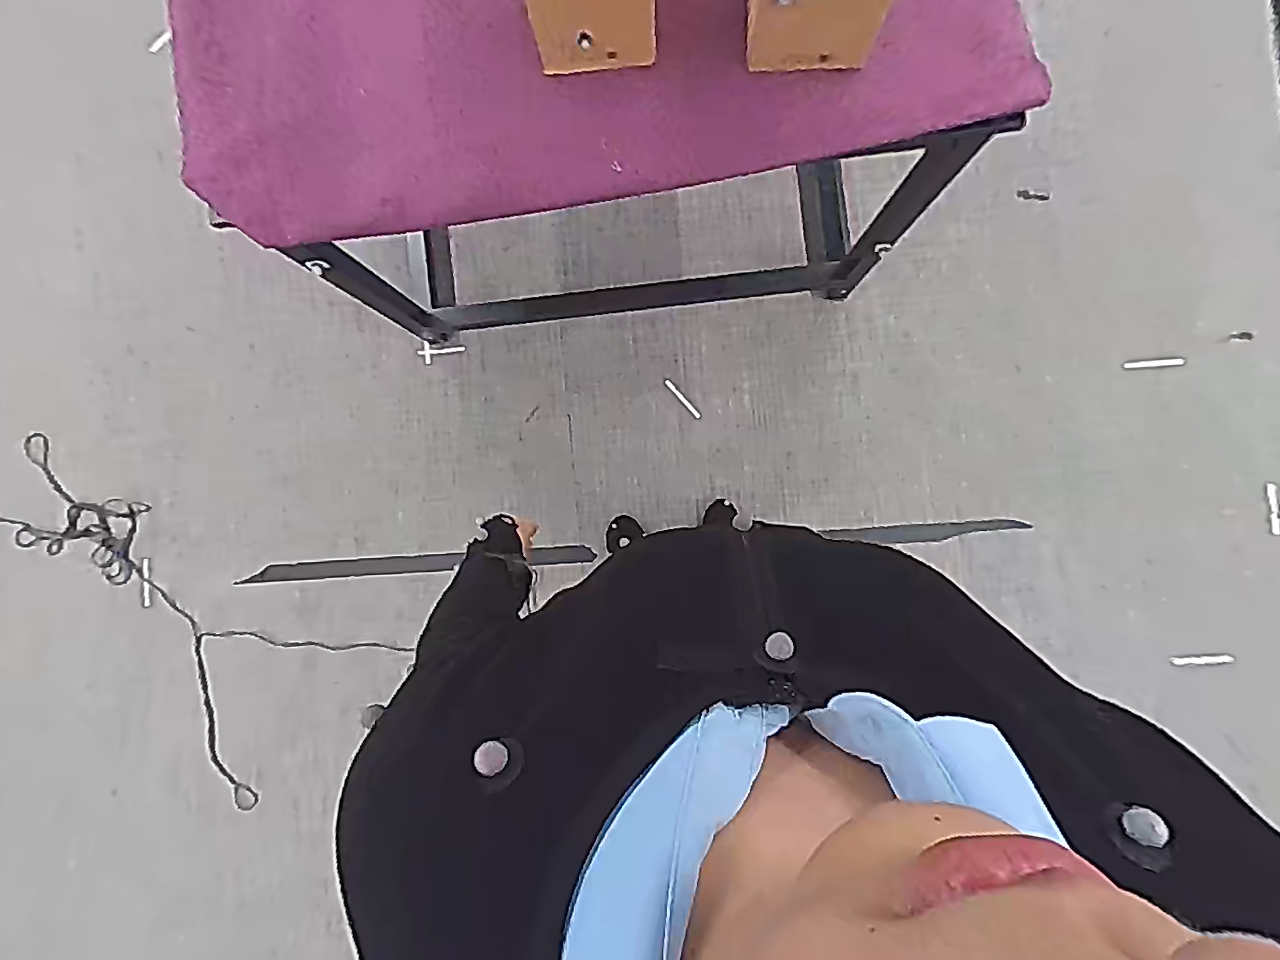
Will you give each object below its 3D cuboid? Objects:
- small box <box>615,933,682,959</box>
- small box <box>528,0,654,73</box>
[{"bbox_3d":[0.025,1.280,1.351,0.168,0.176,0.179,-8,88,3],"label":"small box"},{"bbox_3d":[-0.068,-0.691,0.717,0.168,0.176,0.179,-4,89,2],"label":"small box"}]
